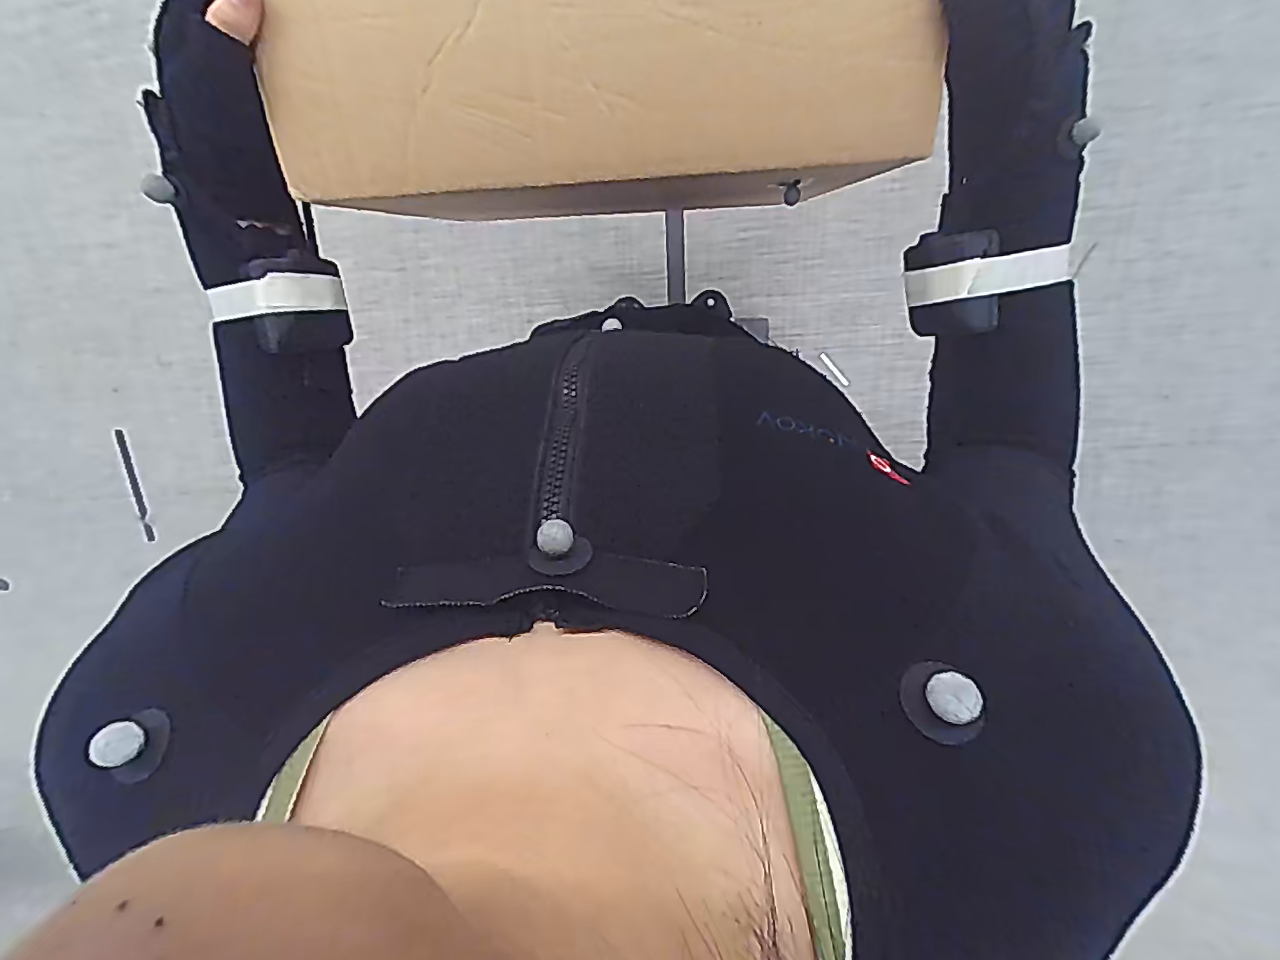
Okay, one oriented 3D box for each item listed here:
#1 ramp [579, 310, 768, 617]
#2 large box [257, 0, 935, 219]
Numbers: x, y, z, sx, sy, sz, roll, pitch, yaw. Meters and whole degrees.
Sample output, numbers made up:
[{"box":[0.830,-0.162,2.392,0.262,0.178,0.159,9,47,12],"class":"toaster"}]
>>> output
[{"box":[0.123,0.017,1.610,0.509,0.206,0.991,-4,107,5],"class":"ramp"},{"box":[-0.025,-0.395,0.430,0.408,0.320,0.320,-2,113,3],"class":"large box"}]
